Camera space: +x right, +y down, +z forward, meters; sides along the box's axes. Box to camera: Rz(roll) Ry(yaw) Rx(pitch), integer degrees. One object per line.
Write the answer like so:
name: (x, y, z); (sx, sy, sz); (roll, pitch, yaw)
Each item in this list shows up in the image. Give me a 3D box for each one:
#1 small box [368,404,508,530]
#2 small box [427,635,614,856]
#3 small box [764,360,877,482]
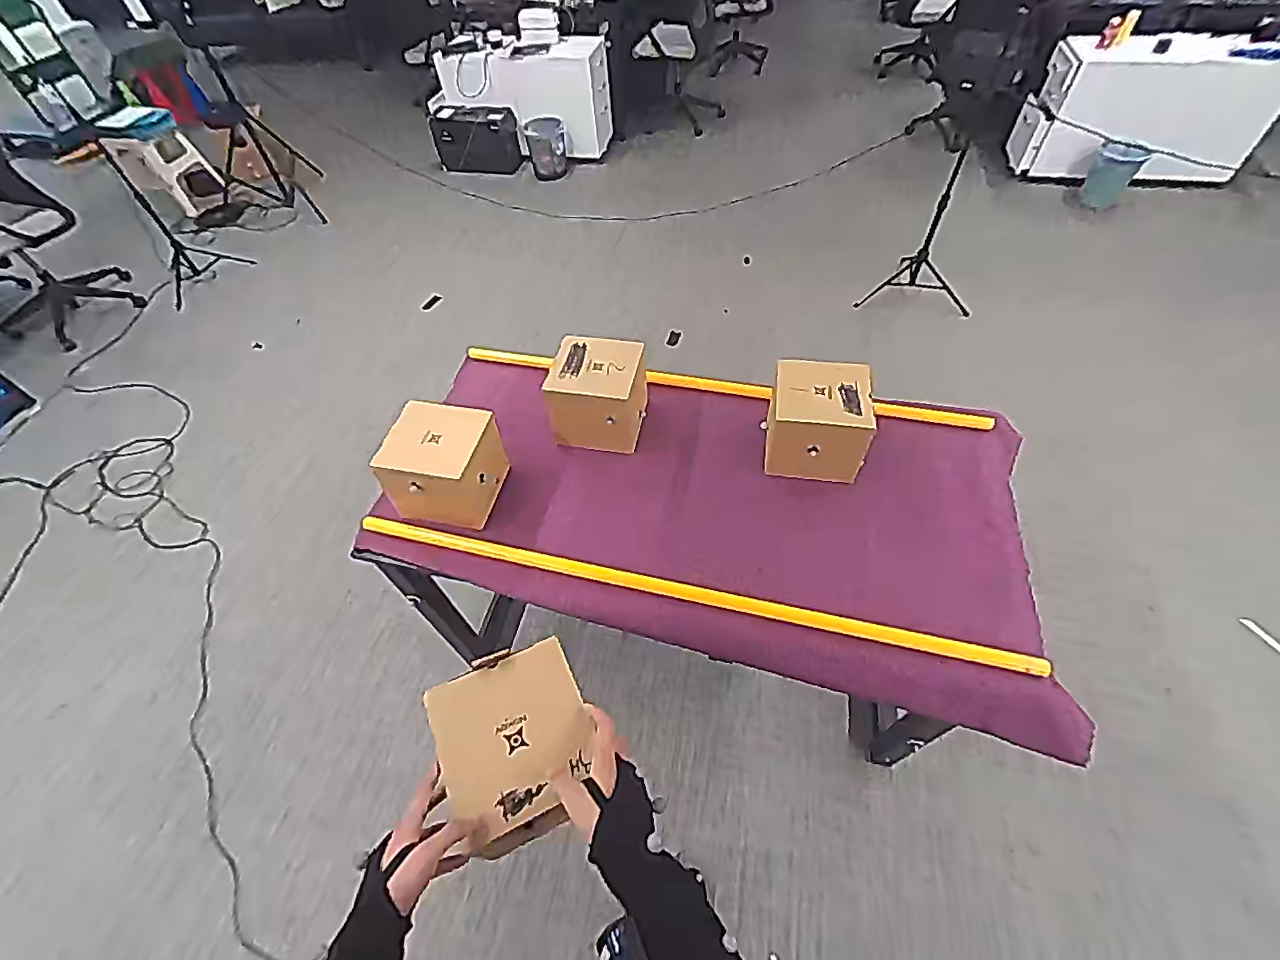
small box: (-0.373, -0.021, 1.041); (0.179, 0.176, 0.168); (8, 53, 9)
small box: (-0.141, 0.325, 0.658); (0.168, 0.176, 0.179); (-19, 57, -17)
small box: (0.345, -0.112, 1.056); (0.179, 0.176, 0.168); (6, 54, 10)
